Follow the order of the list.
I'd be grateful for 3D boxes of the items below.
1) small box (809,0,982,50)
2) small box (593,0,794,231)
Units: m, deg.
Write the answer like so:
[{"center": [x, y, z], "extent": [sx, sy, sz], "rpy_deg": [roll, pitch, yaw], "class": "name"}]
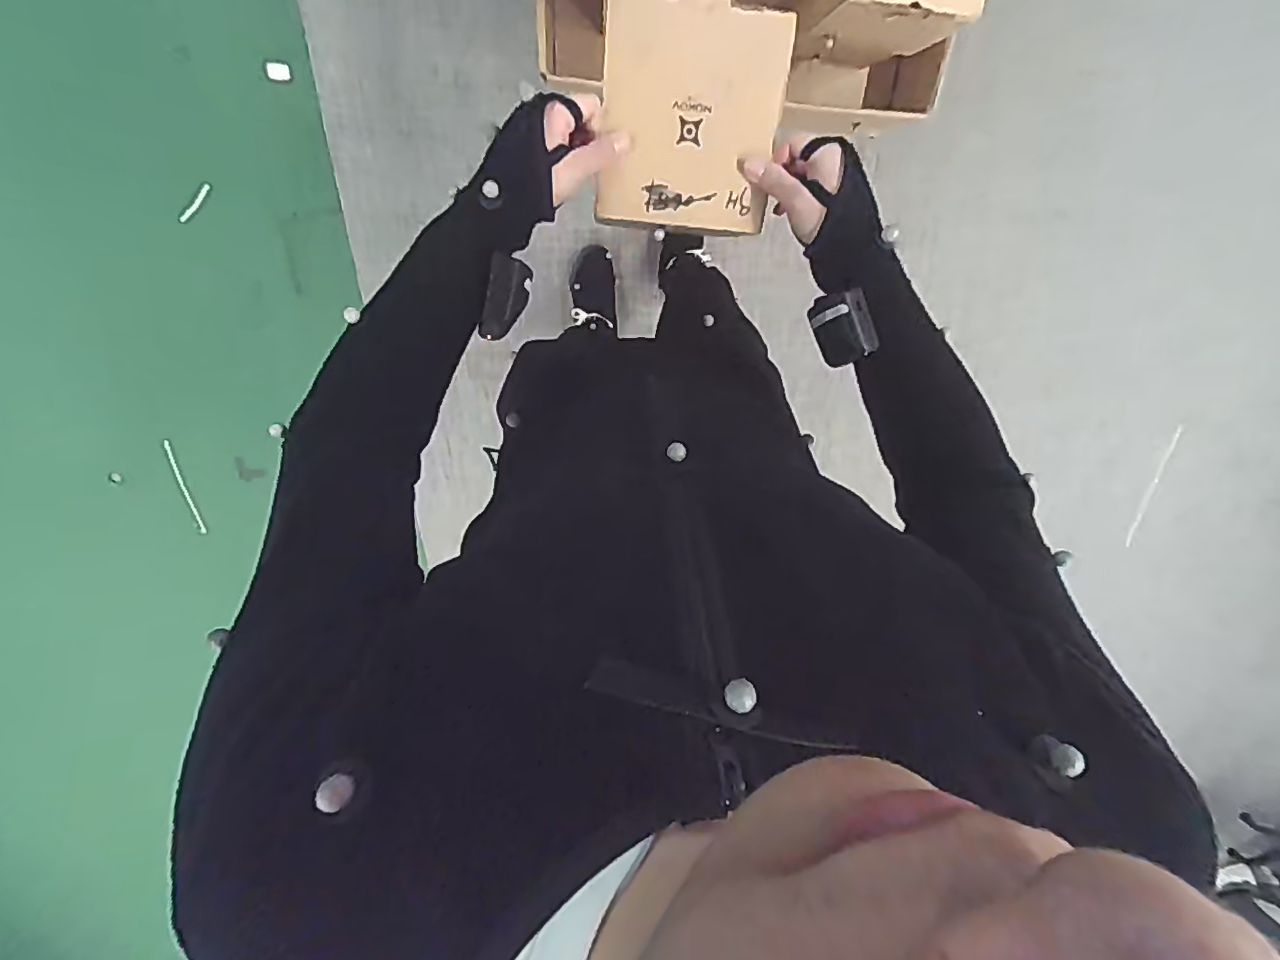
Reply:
[{"center": [0.324, -0.662, 0.664], "extent": [0.168, 0.176, 0.179], "rpy_deg": [4, 116, -6], "class": "small box"}, {"center": [0.039, -0.364, 0.559], "extent": [0.168, 0.176, 0.179], "rpy_deg": [3, 113, -5], "class": "small box"}]
